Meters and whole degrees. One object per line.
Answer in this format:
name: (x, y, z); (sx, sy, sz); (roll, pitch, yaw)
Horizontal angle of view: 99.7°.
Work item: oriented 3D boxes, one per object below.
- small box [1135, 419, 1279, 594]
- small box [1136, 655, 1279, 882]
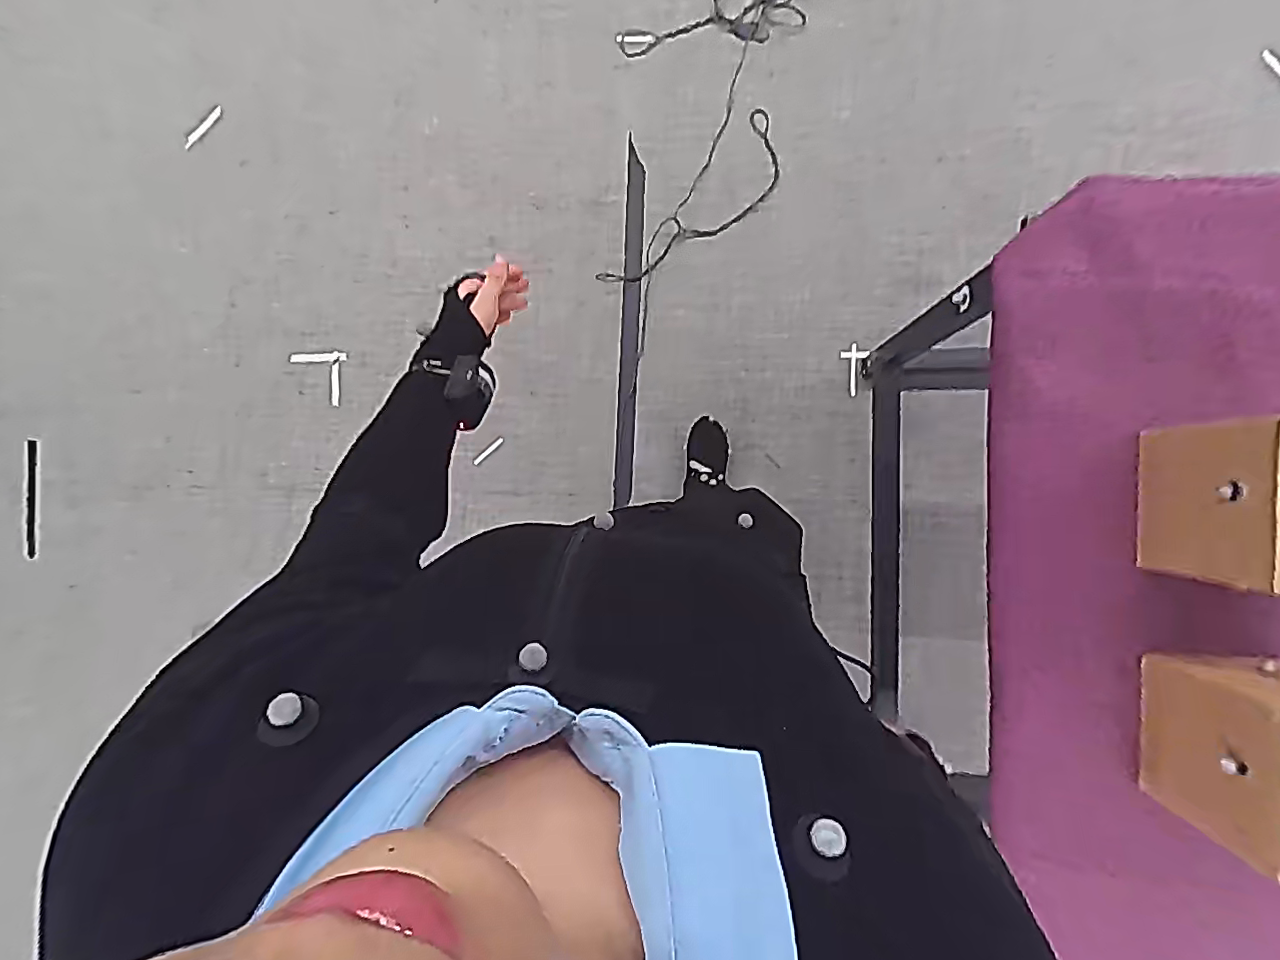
small box: (0.710, 0.029, 0.607); (0.168, 0.176, 0.179); (2, 91, 6)
small box: (0.711, 0.315, 0.607); (0.168, 0.176, 0.179); (2, 89, 5)
